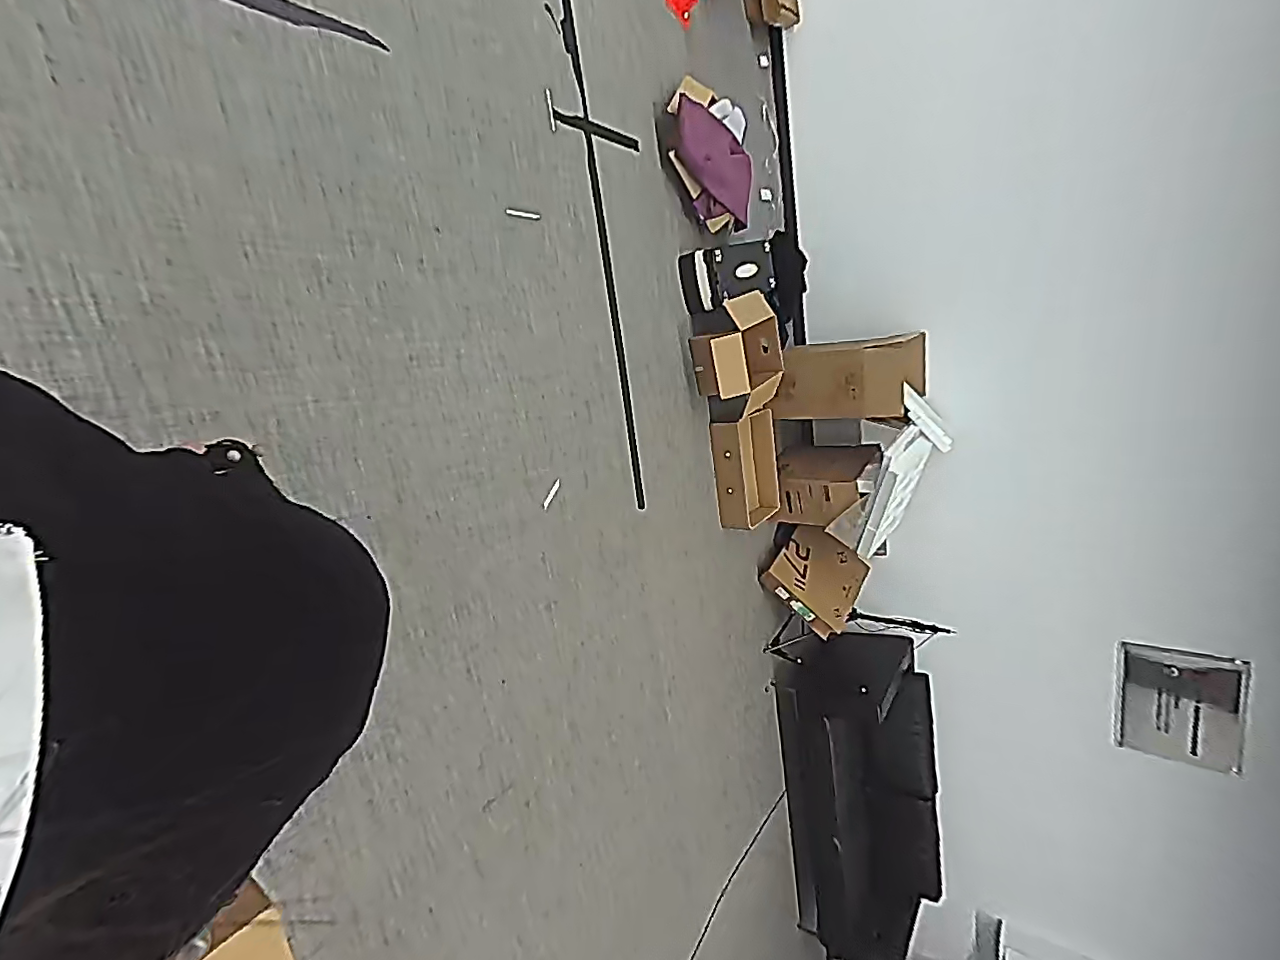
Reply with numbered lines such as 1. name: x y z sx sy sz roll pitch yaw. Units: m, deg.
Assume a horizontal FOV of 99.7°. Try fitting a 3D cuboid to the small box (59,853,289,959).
1. small box: -0.544 0.602 0.647 0.168 0.176 0.179 -23 107 -52
